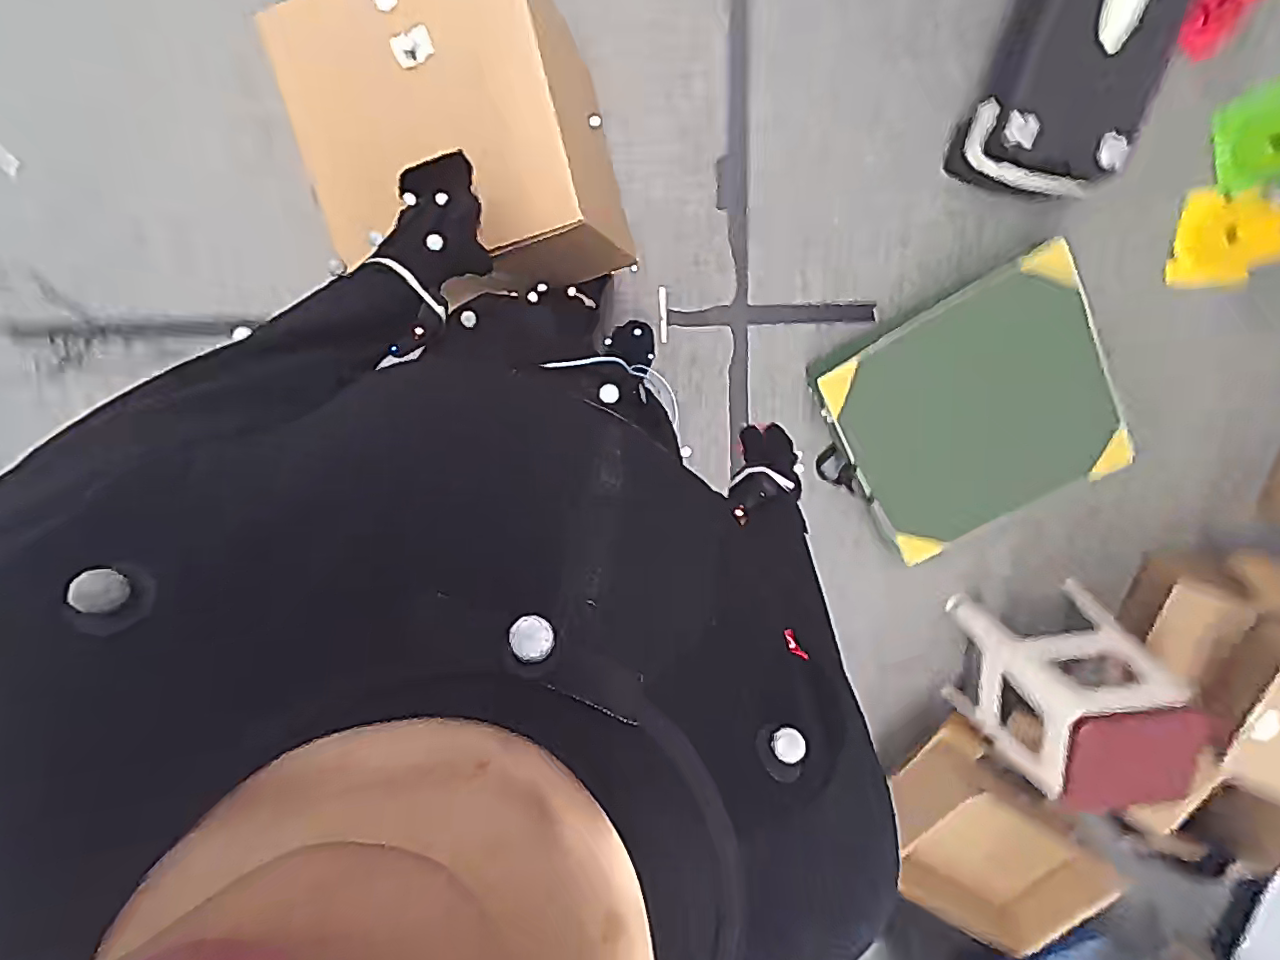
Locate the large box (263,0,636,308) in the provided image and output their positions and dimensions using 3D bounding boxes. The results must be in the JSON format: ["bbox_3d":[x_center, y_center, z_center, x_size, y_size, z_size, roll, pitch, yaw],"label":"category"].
[{"bbox_3d":[-0.226,-0.455,0.807,0.320,0.408,0.320,-12,104,13],"label":"large box"}]
